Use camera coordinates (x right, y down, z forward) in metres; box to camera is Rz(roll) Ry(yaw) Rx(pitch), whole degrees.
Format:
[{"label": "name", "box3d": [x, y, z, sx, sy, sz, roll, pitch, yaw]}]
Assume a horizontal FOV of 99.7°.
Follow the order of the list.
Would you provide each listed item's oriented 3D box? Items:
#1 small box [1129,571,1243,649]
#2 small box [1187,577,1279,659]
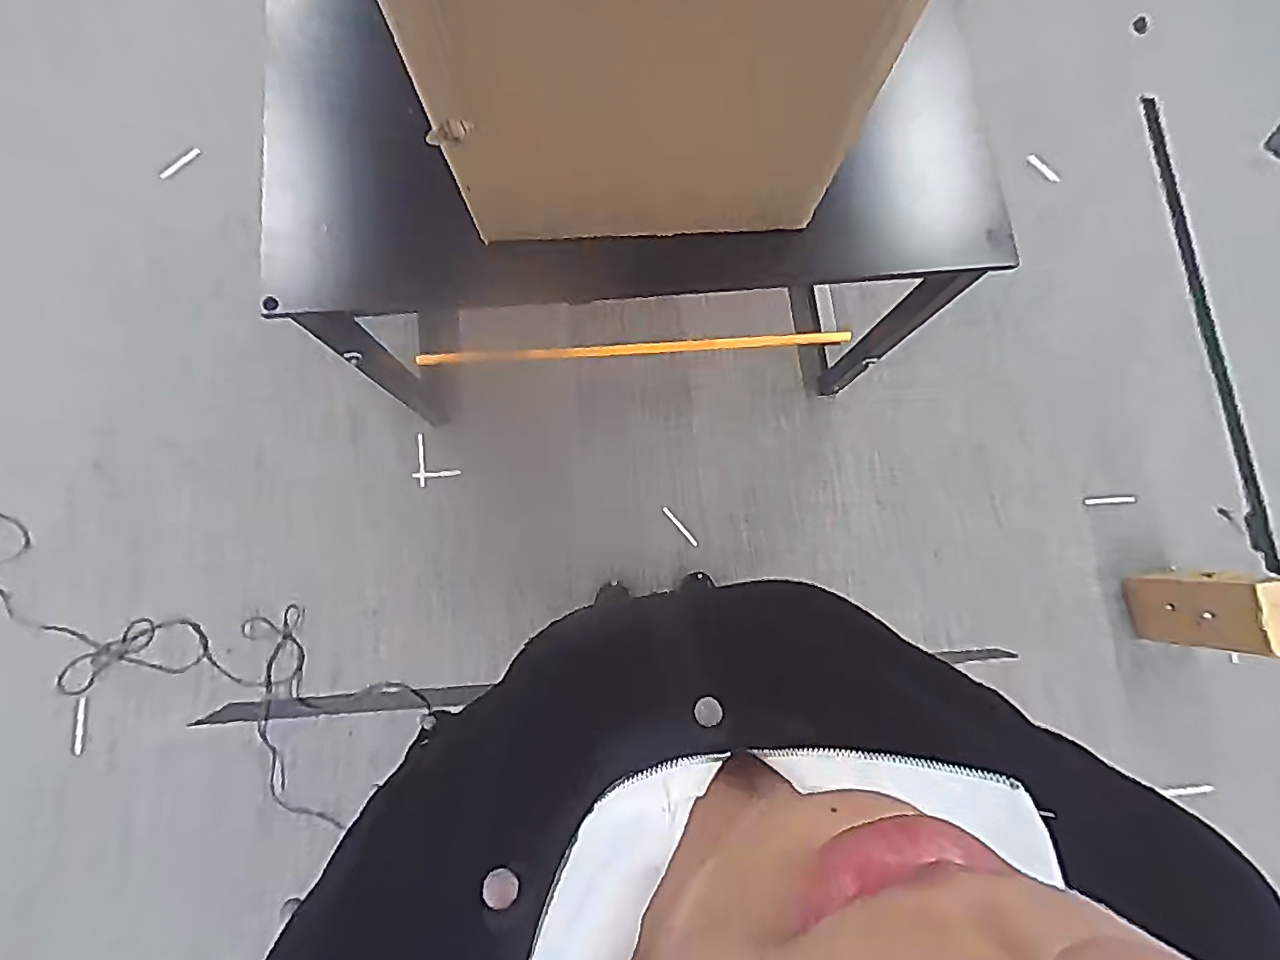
[{"label": "small box", "box3d": [1.479, 0.344, 1.455, 0.168, 0.176, 0.179, -8, 82, -3]}, {"label": "small box", "box3d": [1.486, 0.323, 1.291, 0.179, 0.176, 0.168, -4, 81, -2]}]
